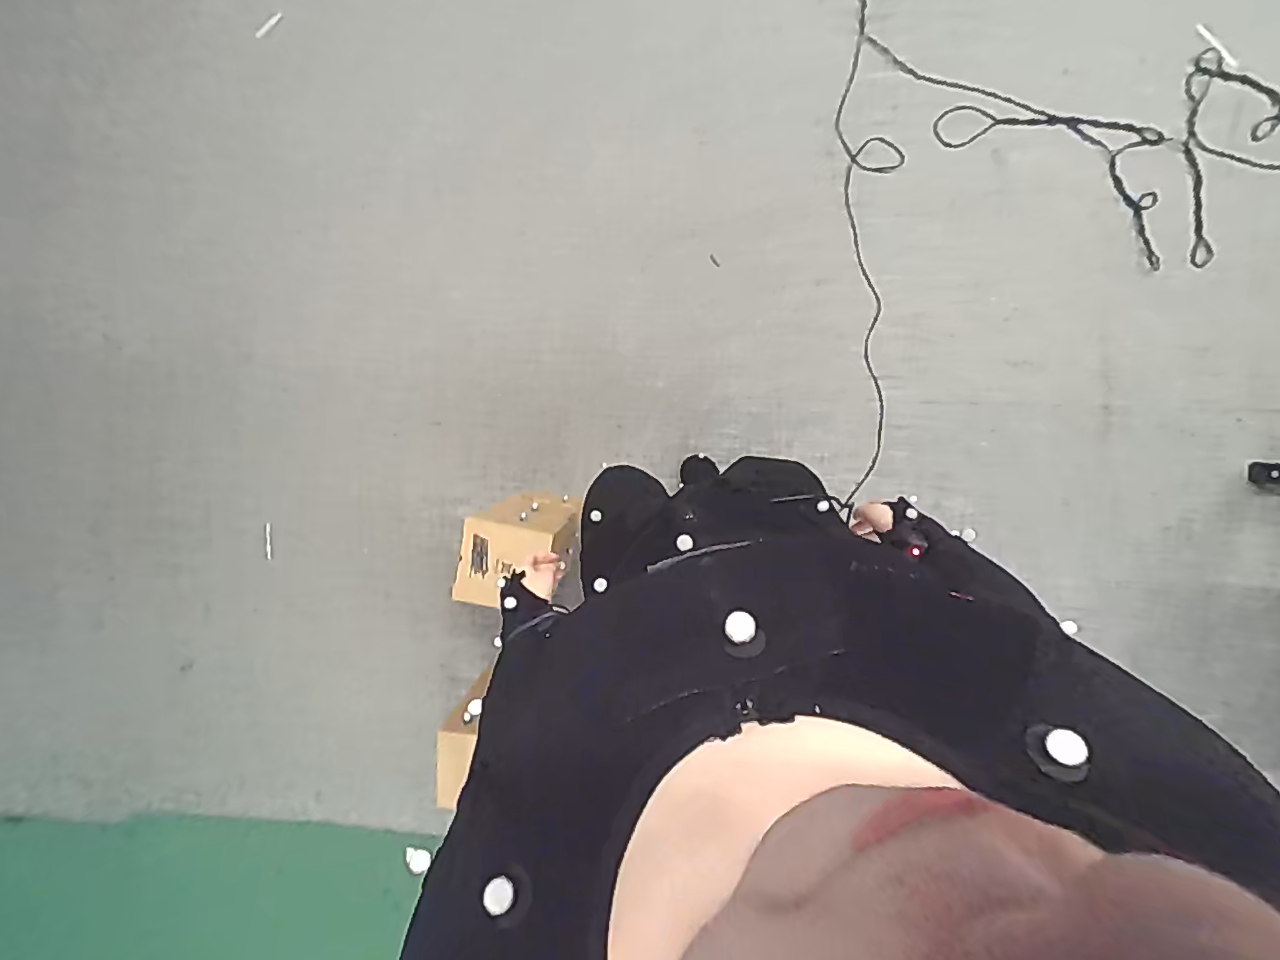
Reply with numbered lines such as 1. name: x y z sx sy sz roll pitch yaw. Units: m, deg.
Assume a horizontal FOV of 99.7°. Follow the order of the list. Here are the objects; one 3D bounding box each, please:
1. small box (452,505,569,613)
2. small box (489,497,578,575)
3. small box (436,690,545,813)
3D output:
1. small box: -0.257 0.153 1.106 0.179 0.176 0.168 12 96 1
2. small box: -0.255 0.137 1.270 0.179 0.176 0.168 10 95 2
3. small box: -0.311 0.564 1.145 0.179 0.176 0.168 3 97 4
